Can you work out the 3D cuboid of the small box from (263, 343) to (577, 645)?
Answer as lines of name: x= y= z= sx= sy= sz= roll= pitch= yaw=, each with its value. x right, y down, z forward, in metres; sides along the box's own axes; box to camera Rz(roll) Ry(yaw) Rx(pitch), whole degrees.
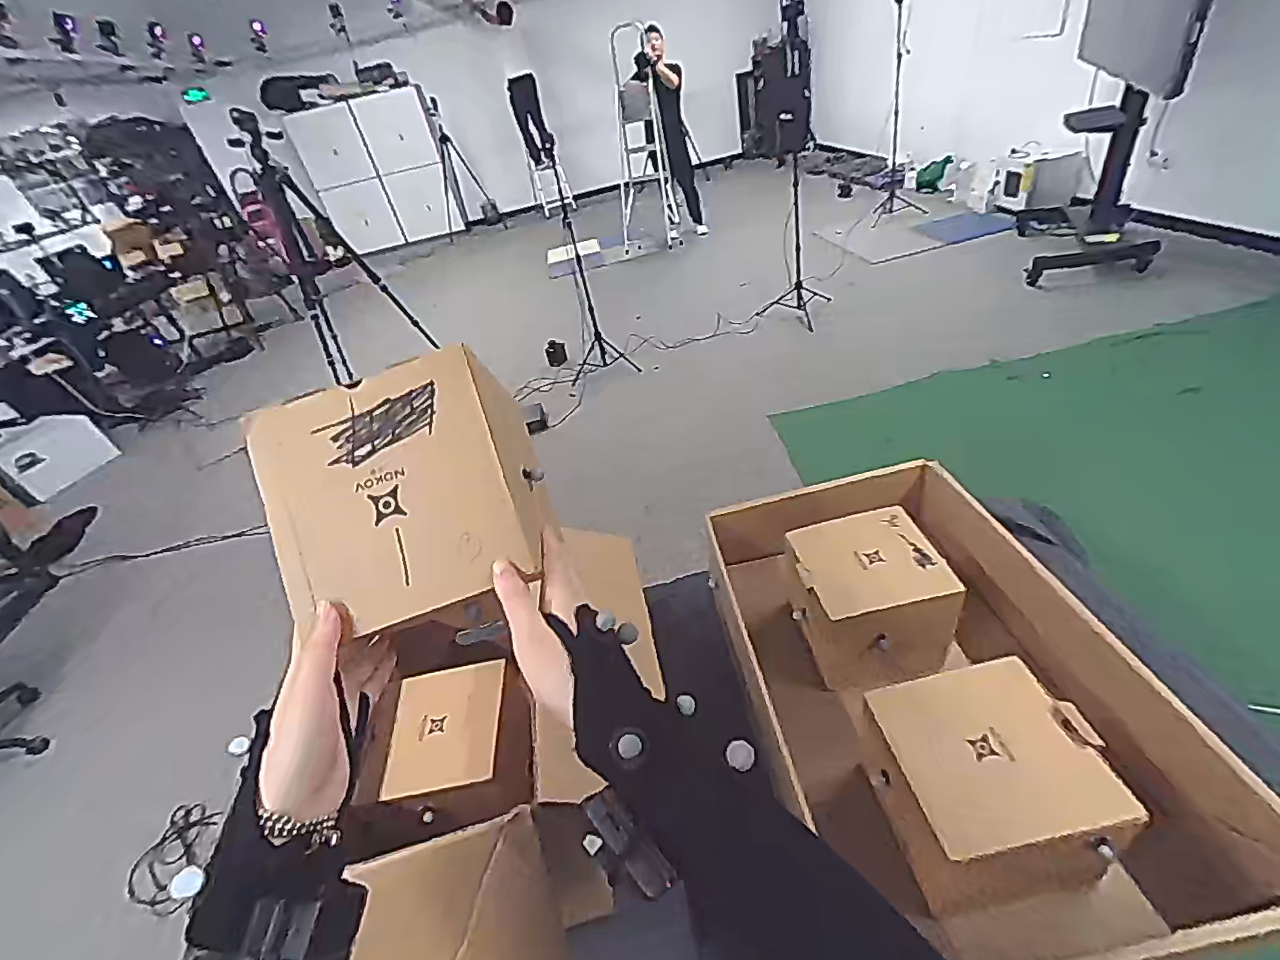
small box: x=-0.162 y=0.016 z=0.454 sx=0.168 sy=0.179 sz=0.176 roll=-19 pitch=-6 yaw=-1
